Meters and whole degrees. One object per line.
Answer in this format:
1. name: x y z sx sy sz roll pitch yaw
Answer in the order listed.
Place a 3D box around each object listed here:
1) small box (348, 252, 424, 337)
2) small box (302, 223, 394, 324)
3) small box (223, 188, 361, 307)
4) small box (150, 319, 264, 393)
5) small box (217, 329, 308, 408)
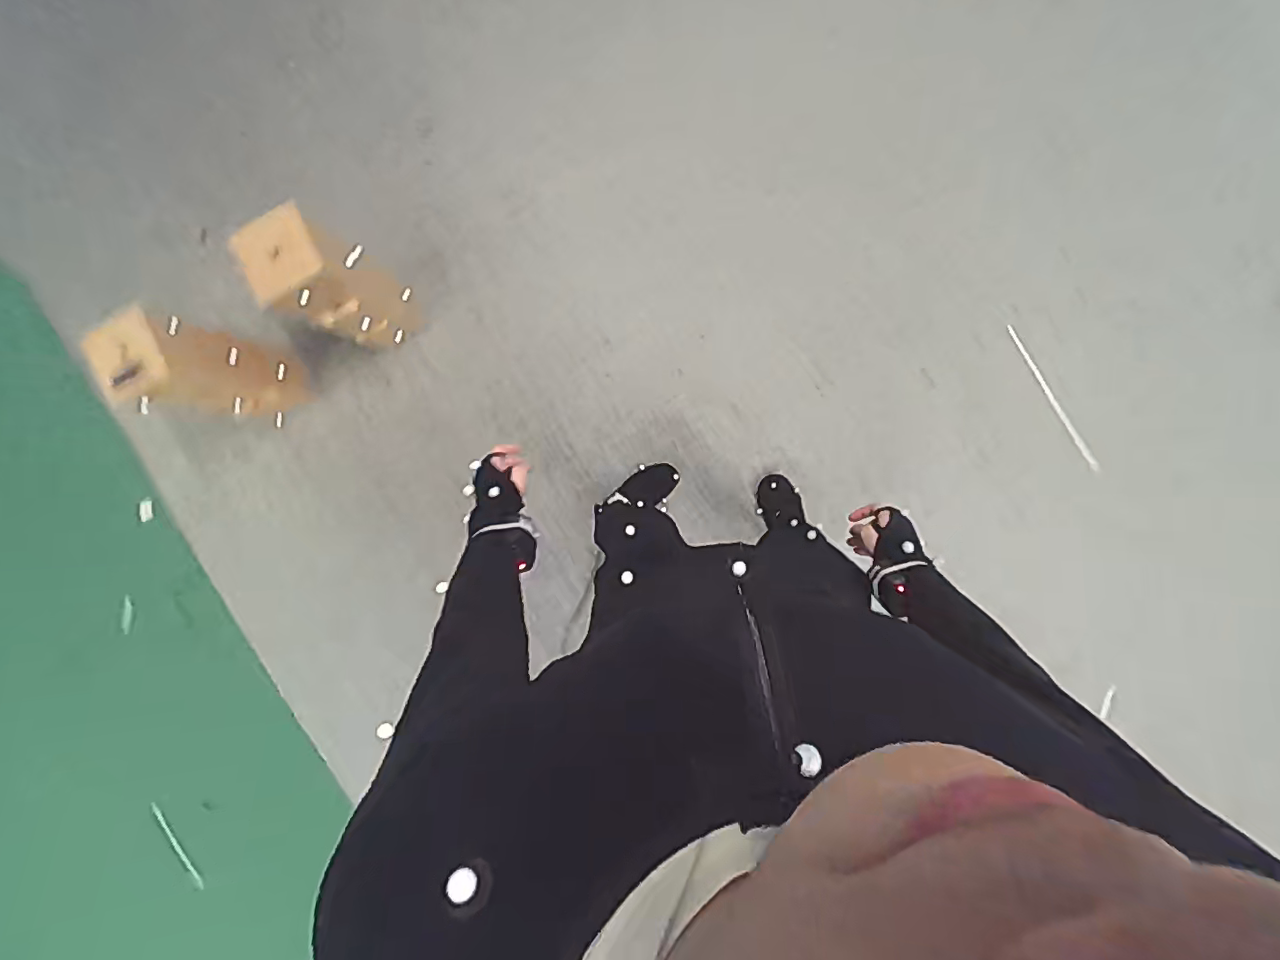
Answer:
1. small box: -0.765 -0.534 1.574 0.168 0.176 0.179 -28 92 6
2. small box: -0.784 -0.533 1.410 0.168 0.176 0.179 -23 91 7
3. small box: -0.792 -0.524 1.248 0.179 0.176 0.168 -24 92 5
4. small box: -1.170 -0.331 1.468 0.179 0.176 0.168 7 96 5
5. small box: -1.146 -0.325 1.621 0.168 0.176 0.179 -25 90 6
